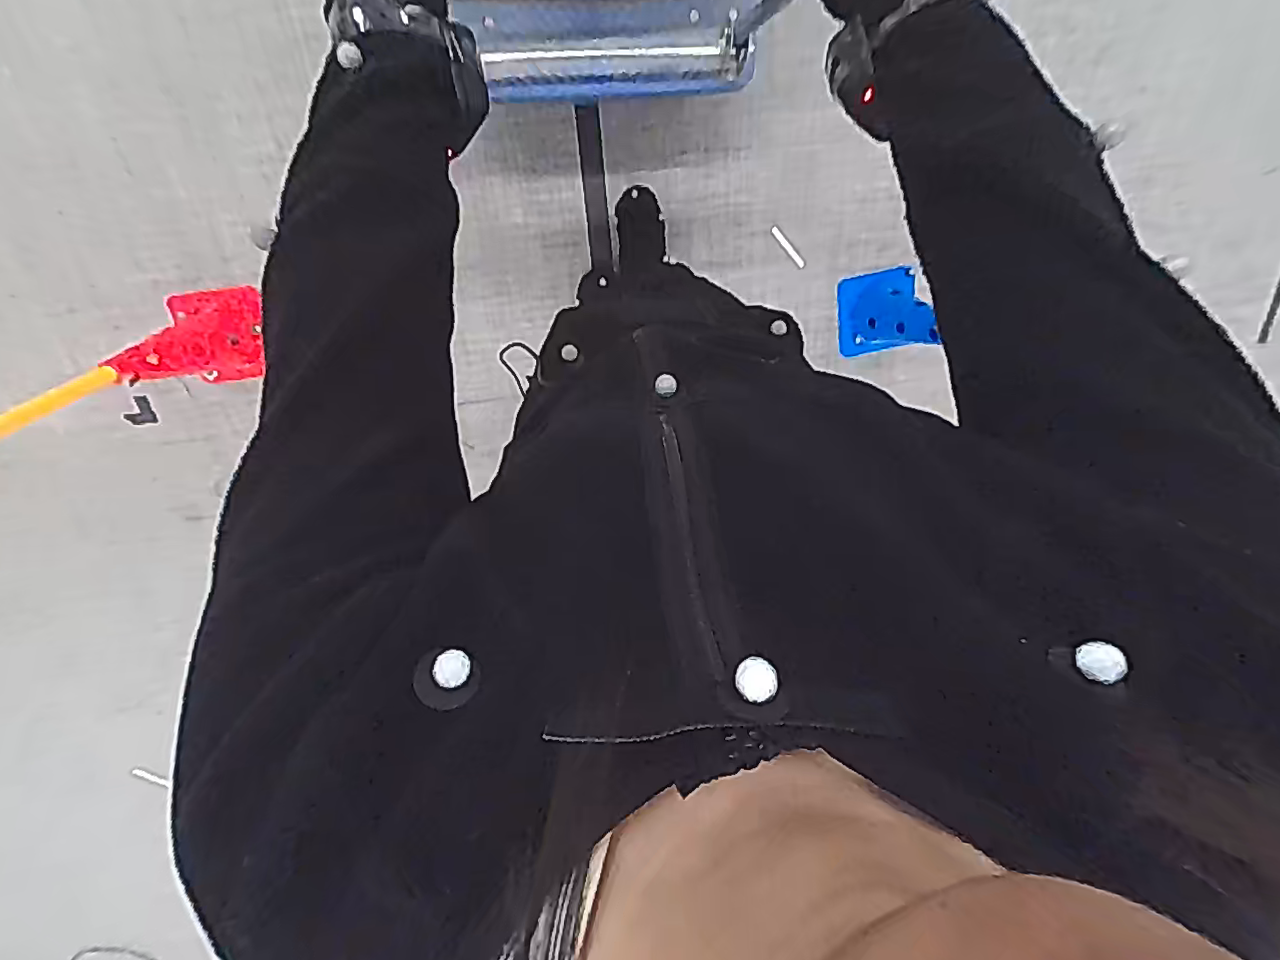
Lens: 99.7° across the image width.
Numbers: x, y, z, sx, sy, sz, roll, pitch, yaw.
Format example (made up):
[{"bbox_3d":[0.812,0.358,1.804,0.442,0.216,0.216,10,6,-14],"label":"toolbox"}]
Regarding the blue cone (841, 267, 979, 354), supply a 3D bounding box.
[{"bbox_3d":[0.624,-0.361,1.223,0.193,0.380,0.192,-11,114,-2],"label":"blue cone"}]
